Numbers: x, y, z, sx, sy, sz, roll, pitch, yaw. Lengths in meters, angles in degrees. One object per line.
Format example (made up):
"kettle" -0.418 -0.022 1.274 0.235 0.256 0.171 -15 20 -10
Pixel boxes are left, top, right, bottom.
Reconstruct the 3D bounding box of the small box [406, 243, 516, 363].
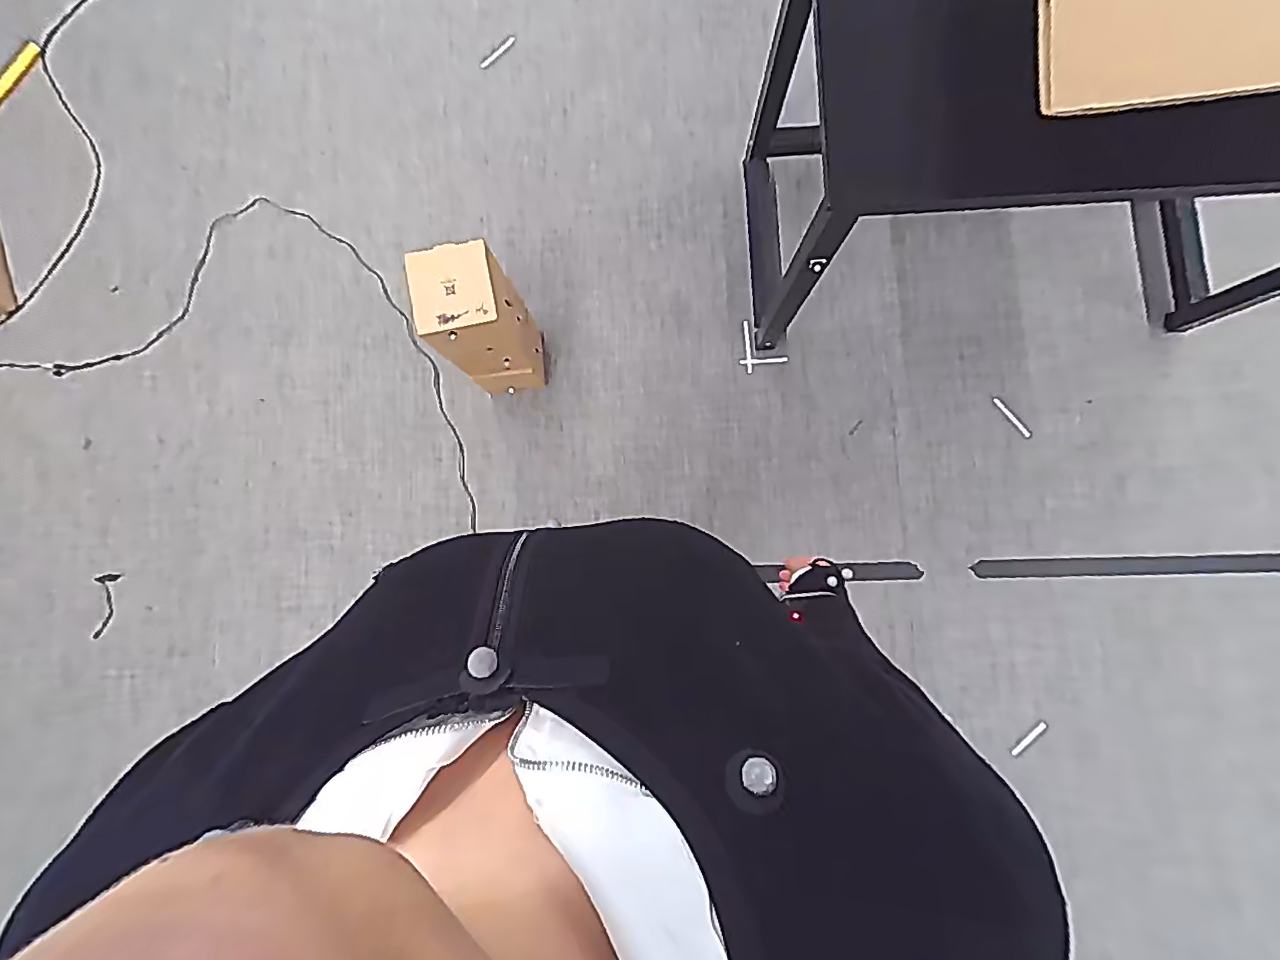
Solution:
"small box" -0.377 -0.373 1.162 0.168 0.176 0.179 -11 84 1

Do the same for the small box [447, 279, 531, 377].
"small box" -0.373 -0.362 1.326 0.168 0.176 0.179 -9 83 0

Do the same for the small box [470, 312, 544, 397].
"small box" -0.365 -0.340 1.487 0.168 0.176 0.179 -6 85 2
